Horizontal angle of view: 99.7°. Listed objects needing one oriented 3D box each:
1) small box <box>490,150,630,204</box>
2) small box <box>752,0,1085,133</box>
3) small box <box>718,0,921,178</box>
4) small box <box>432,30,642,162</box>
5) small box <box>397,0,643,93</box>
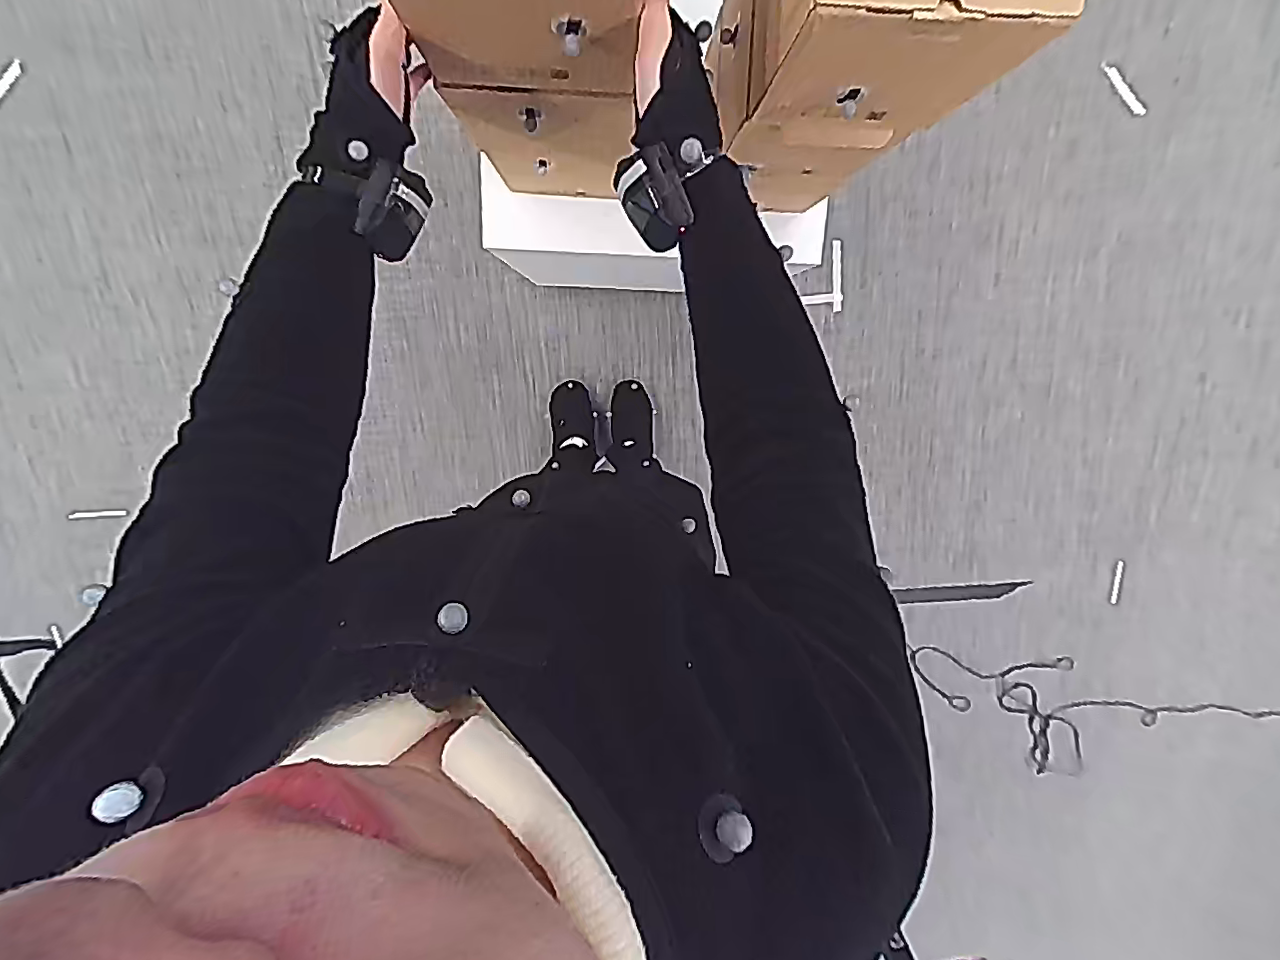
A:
[{"bbox_3d":[-0.093,-0.471,0.681,0.168,0.176,0.179,3,103,-3],"label":"small box"},{"bbox_3d":[0.182,-0.375,0.379,0.168,0.176,0.179,0,105,-2],"label":"small box"},{"bbox_3d":[0.174,-0.417,0.536,0.168,0.176,0.179,0,104,-2],"label":"small box"},{"bbox_3d":[-0.087,-0.426,0.522,0.179,0.176,0.168,2,105,-3],"label":"small box"},{"bbox_3d":[-0.077,-0.394,0.360,0.168,0.176,0.179,2,102,-4],"label":"small box"}]
